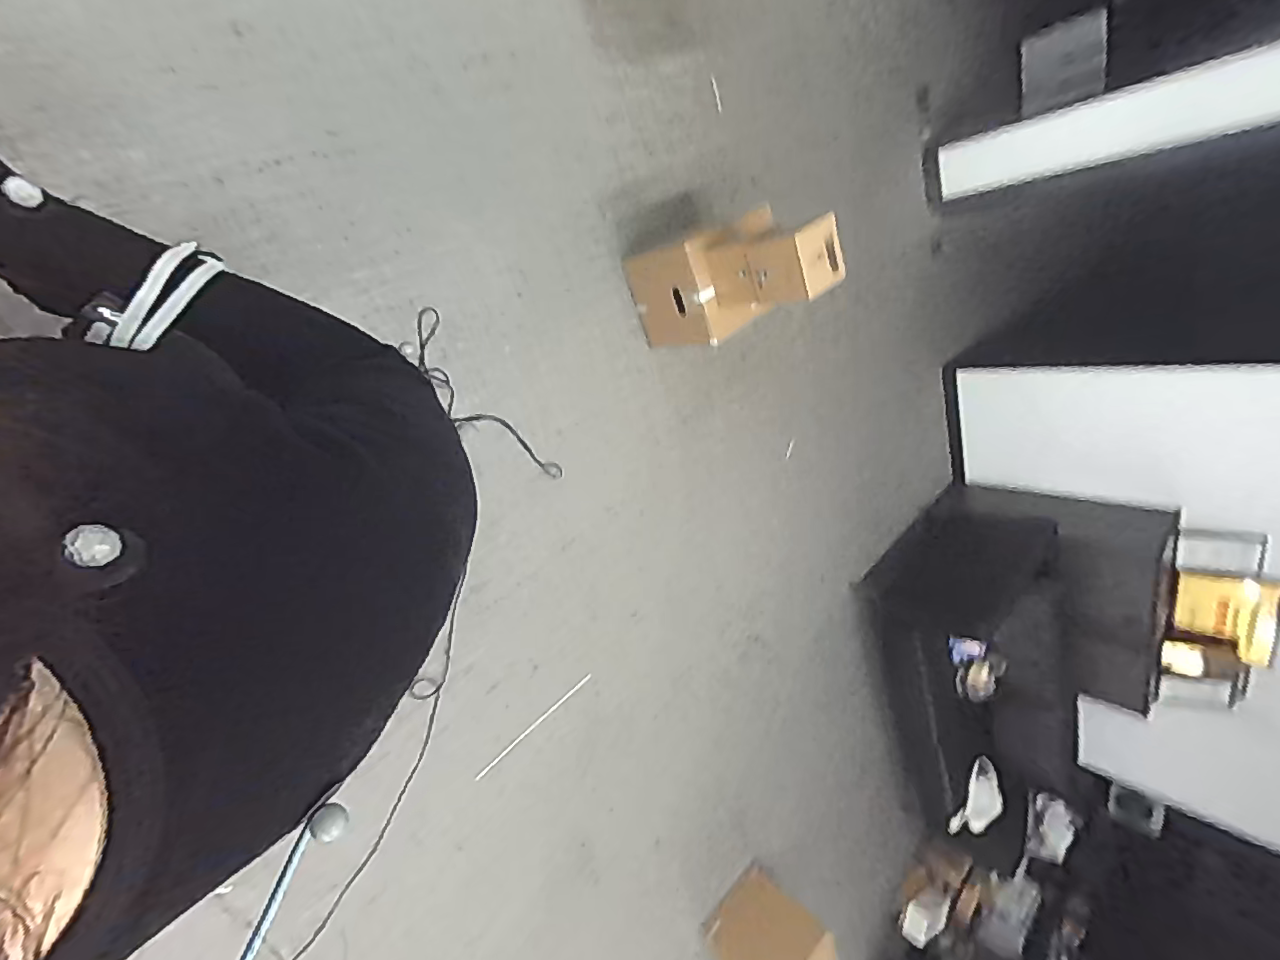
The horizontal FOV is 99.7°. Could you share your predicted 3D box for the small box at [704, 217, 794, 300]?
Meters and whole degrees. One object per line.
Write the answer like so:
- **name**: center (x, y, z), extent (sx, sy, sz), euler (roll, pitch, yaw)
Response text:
- **small box**: center (0.318, -0.642, 1.587), extent (0.168, 0.176, 0.179), euler (-38, 119, -26)
